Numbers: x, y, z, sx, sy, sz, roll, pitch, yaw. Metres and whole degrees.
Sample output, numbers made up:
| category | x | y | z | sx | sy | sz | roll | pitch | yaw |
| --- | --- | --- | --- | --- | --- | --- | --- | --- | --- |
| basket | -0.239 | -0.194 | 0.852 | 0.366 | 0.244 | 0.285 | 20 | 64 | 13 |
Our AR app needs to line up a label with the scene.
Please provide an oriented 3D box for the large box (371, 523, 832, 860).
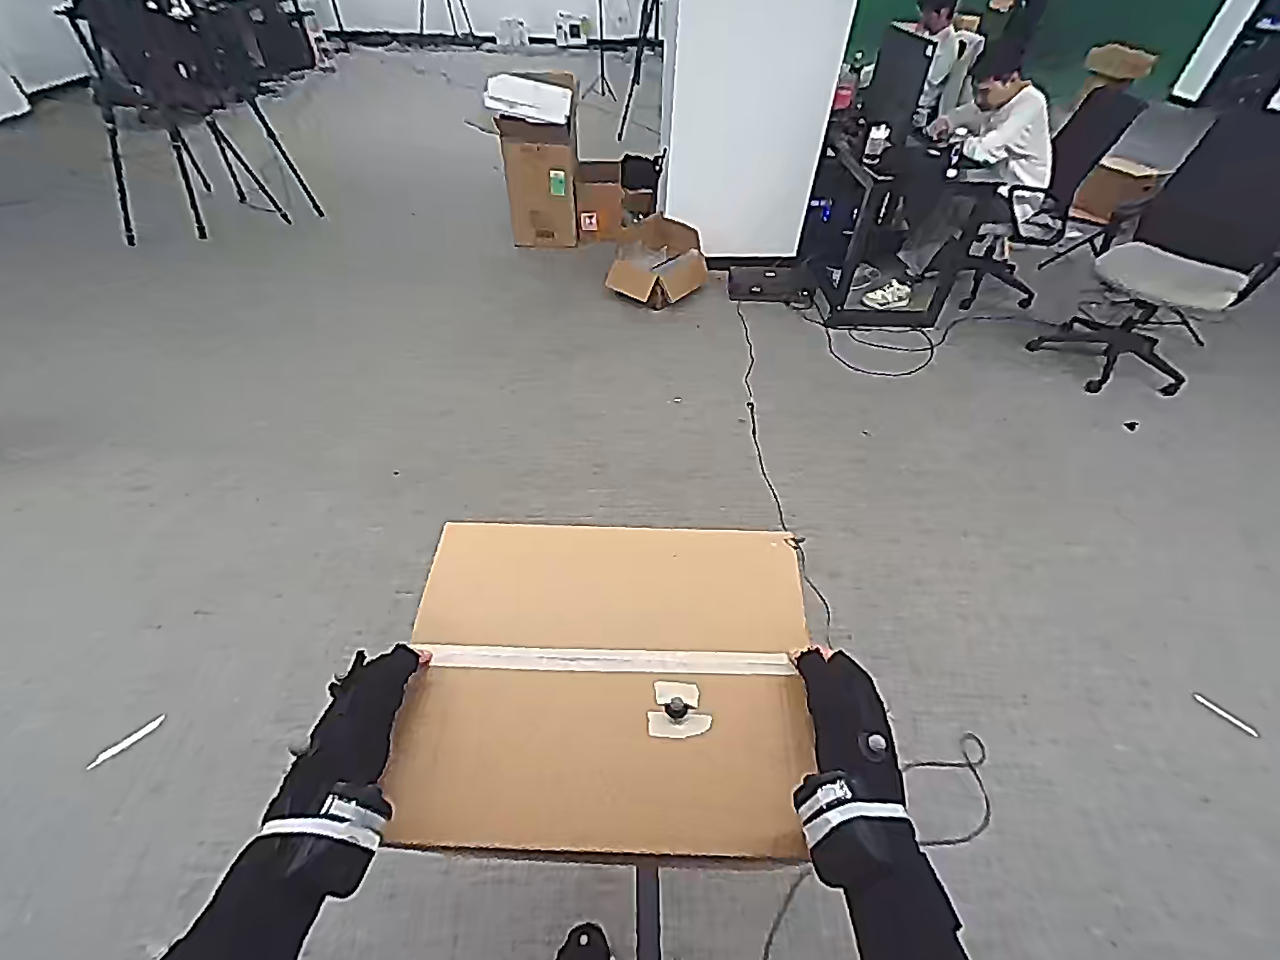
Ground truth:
| category | x | y | z | sx | sy | sz | roll | pitch | yaw |
| --- | --- | --- | --- | --- | --- | --- | --- | --- | --- |
| large box | -0.033 | 0.268 | 0.665 | 0.408 | 0.320 | 0.320 | 2 | 54 | 1 |
